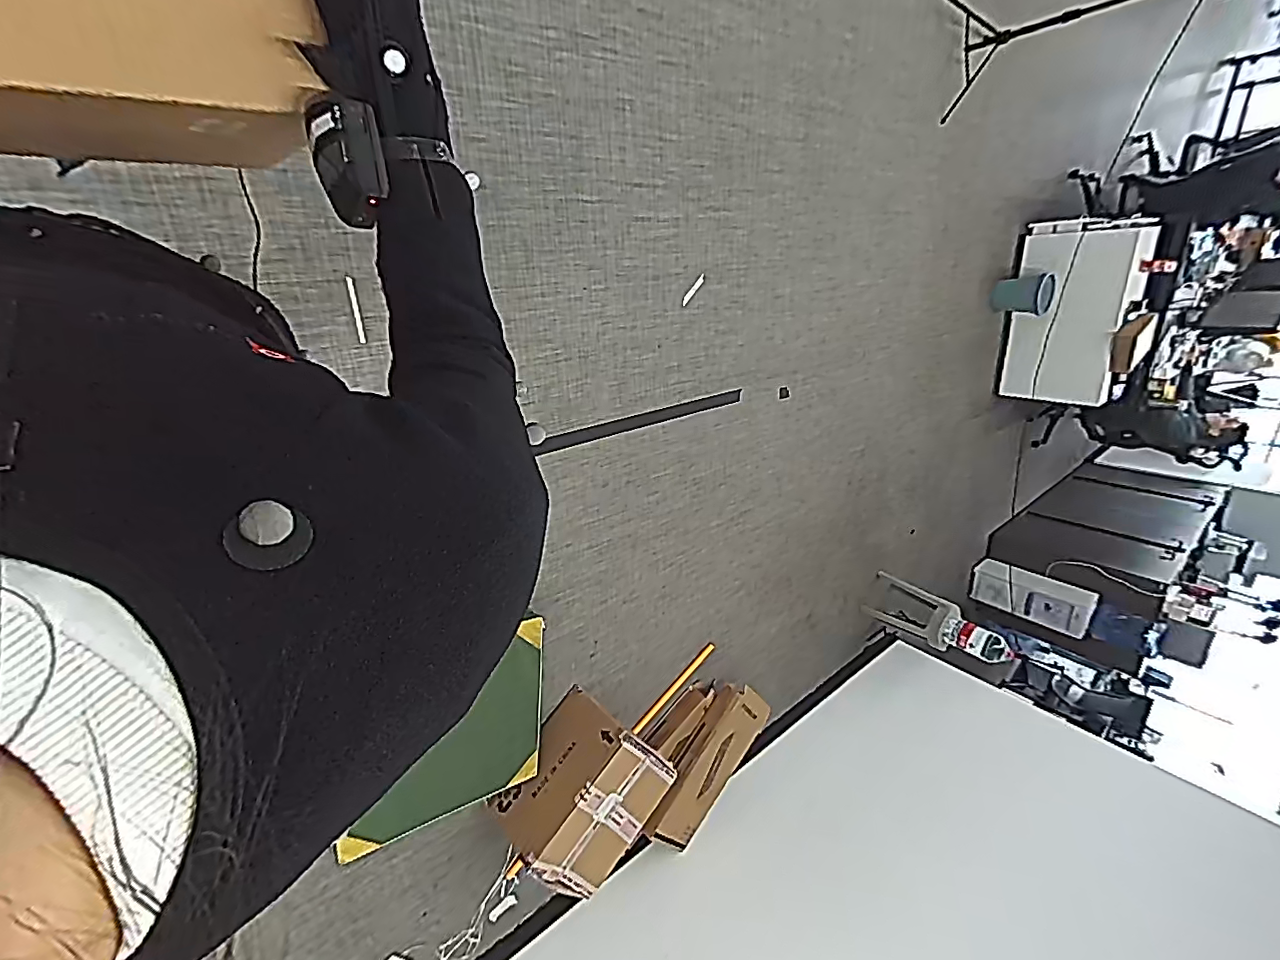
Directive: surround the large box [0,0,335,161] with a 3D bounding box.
[{"bbox_3d":[-0.464,-0.380,0.304,0.408,0.320,0.320,-21,121,-36],"label":"large box"}]
